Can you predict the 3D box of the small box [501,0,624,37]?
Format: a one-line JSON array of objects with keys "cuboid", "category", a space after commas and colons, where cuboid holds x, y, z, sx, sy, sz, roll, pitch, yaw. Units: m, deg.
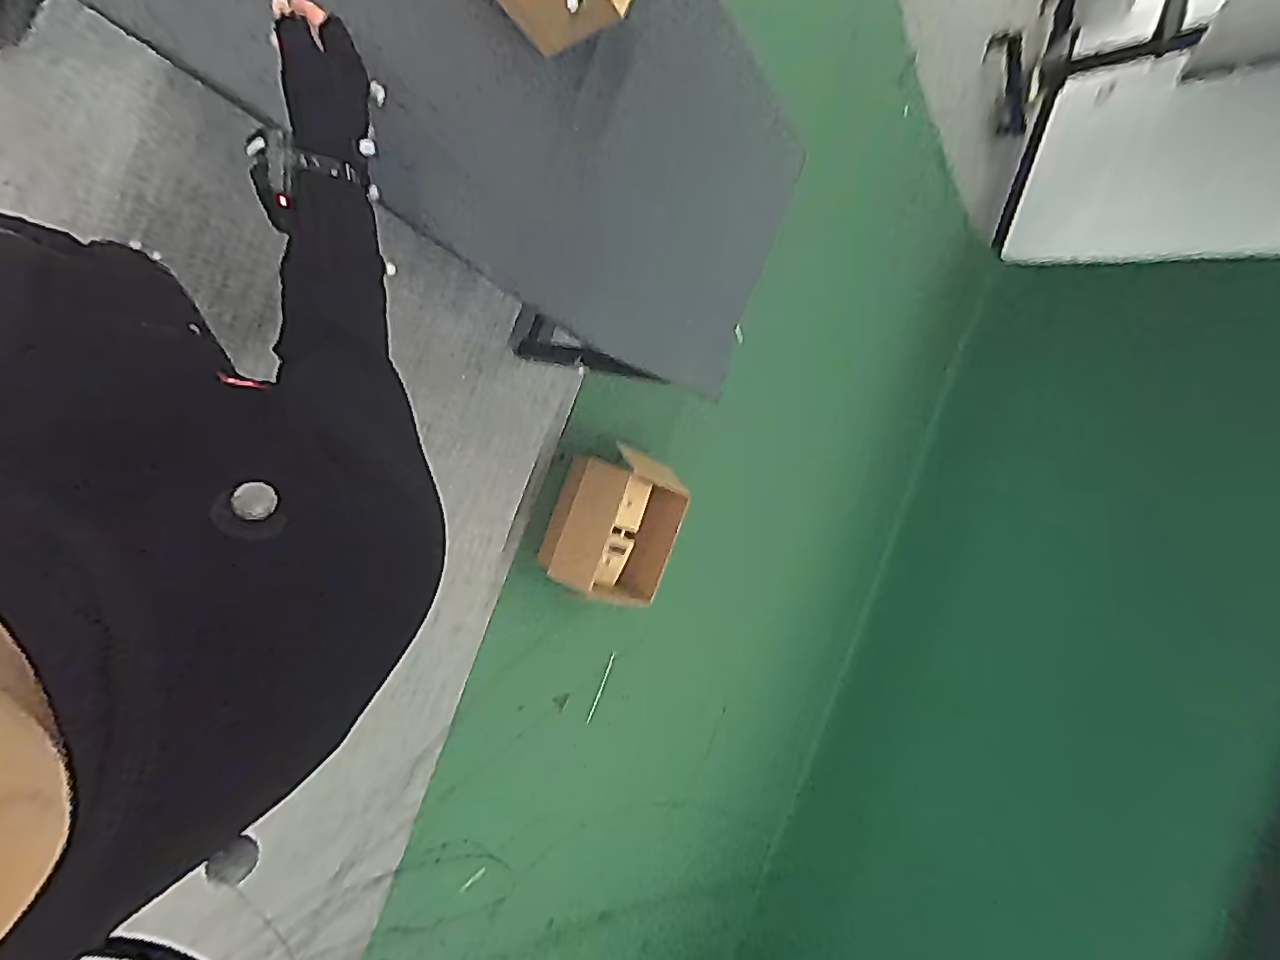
[{"cuboid": [-0.101, -0.677, 0.640, 0.179, 0.176, 0.168, 26, 85, -45], "category": "small box"}]
